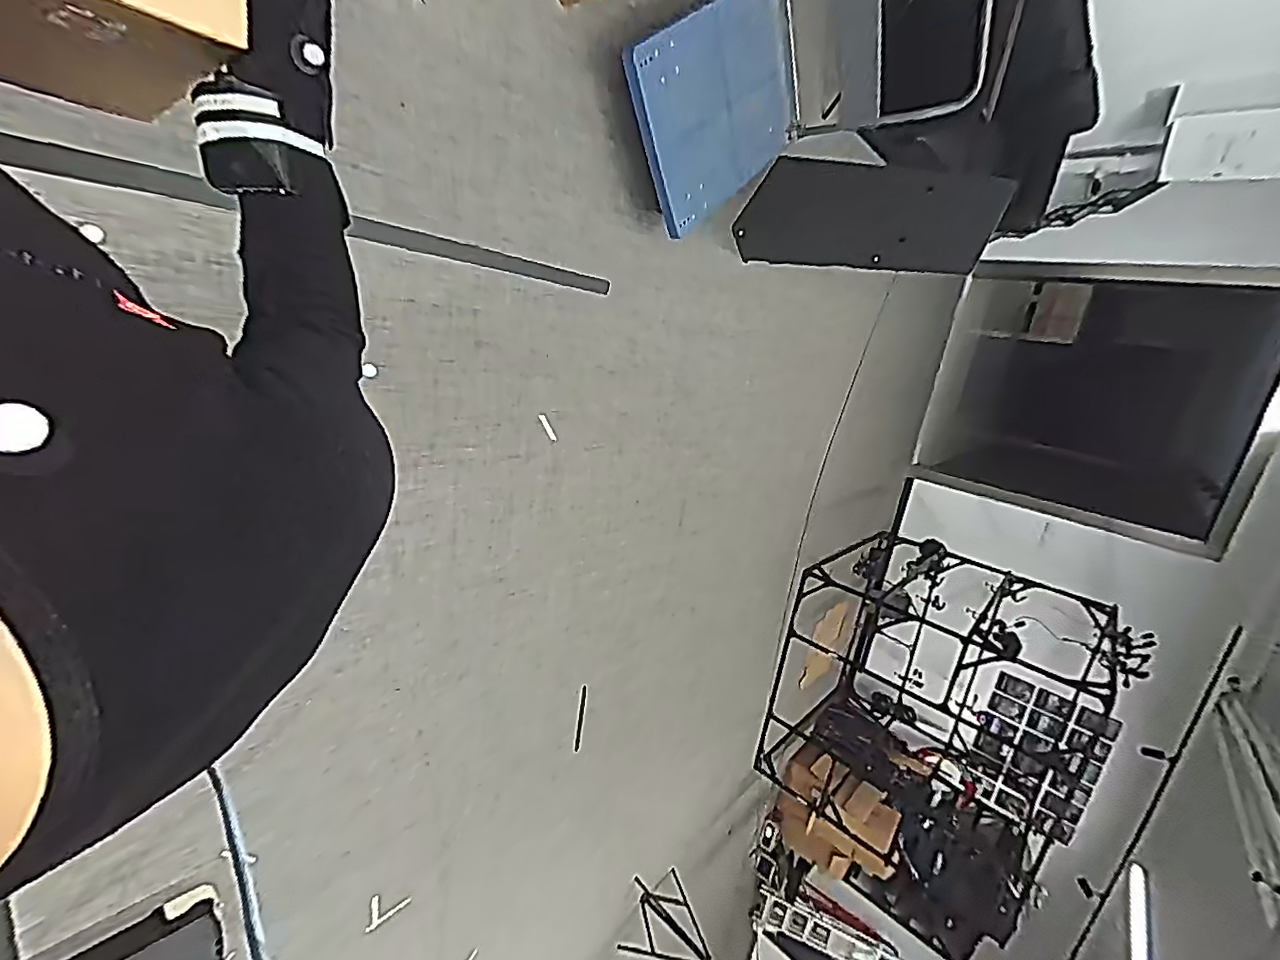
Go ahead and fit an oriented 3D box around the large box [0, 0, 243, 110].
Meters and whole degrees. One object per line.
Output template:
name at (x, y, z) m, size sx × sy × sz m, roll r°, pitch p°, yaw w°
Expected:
large box at (-0.495, -0.451, 0.265) m, size 0.408 × 0.320 × 0.320 m, roll -12°, pitch 113°, yaw -49°
